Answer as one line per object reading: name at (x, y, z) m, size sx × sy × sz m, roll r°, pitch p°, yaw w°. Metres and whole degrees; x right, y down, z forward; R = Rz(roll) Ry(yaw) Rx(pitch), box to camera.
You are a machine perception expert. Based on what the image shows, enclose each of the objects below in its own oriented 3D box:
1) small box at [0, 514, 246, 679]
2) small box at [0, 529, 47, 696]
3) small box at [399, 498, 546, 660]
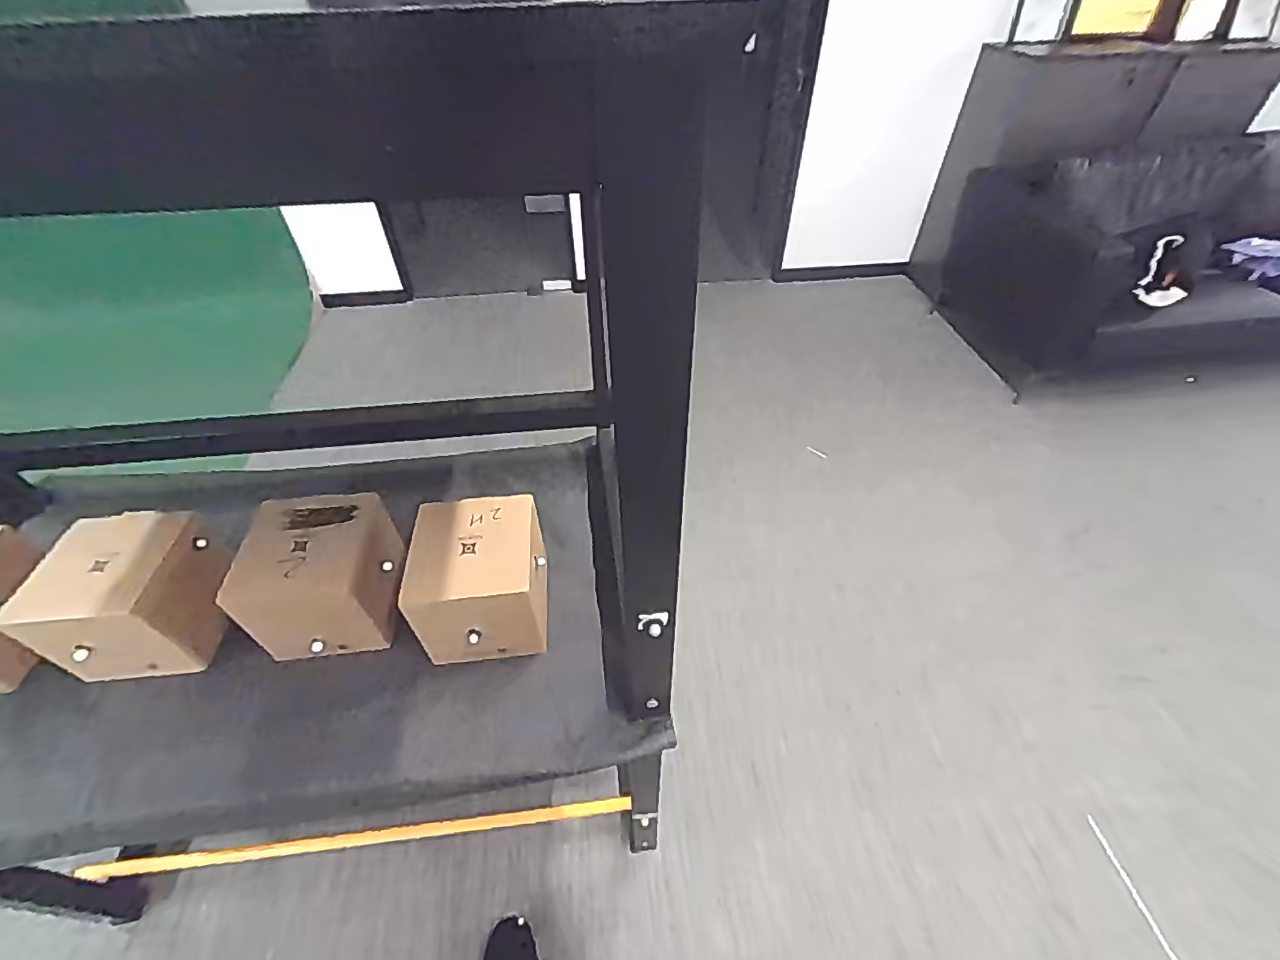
small box at (-0.723, 0.174, 0.786) m, size 0.168 × 0.176 × 0.179 m, roll -4°, pitch 45°, yaw -4°
small box at (-0.974, 0.191, 0.765) m, size 0.168 × 0.176 × 0.179 m, roll -4°, pitch 46°, yaw -4°
small box at (-0.233, 0.151, 0.802) m, size 0.168 × 0.176 × 0.179 m, roll -5°, pitch 45°, yaw -4°
